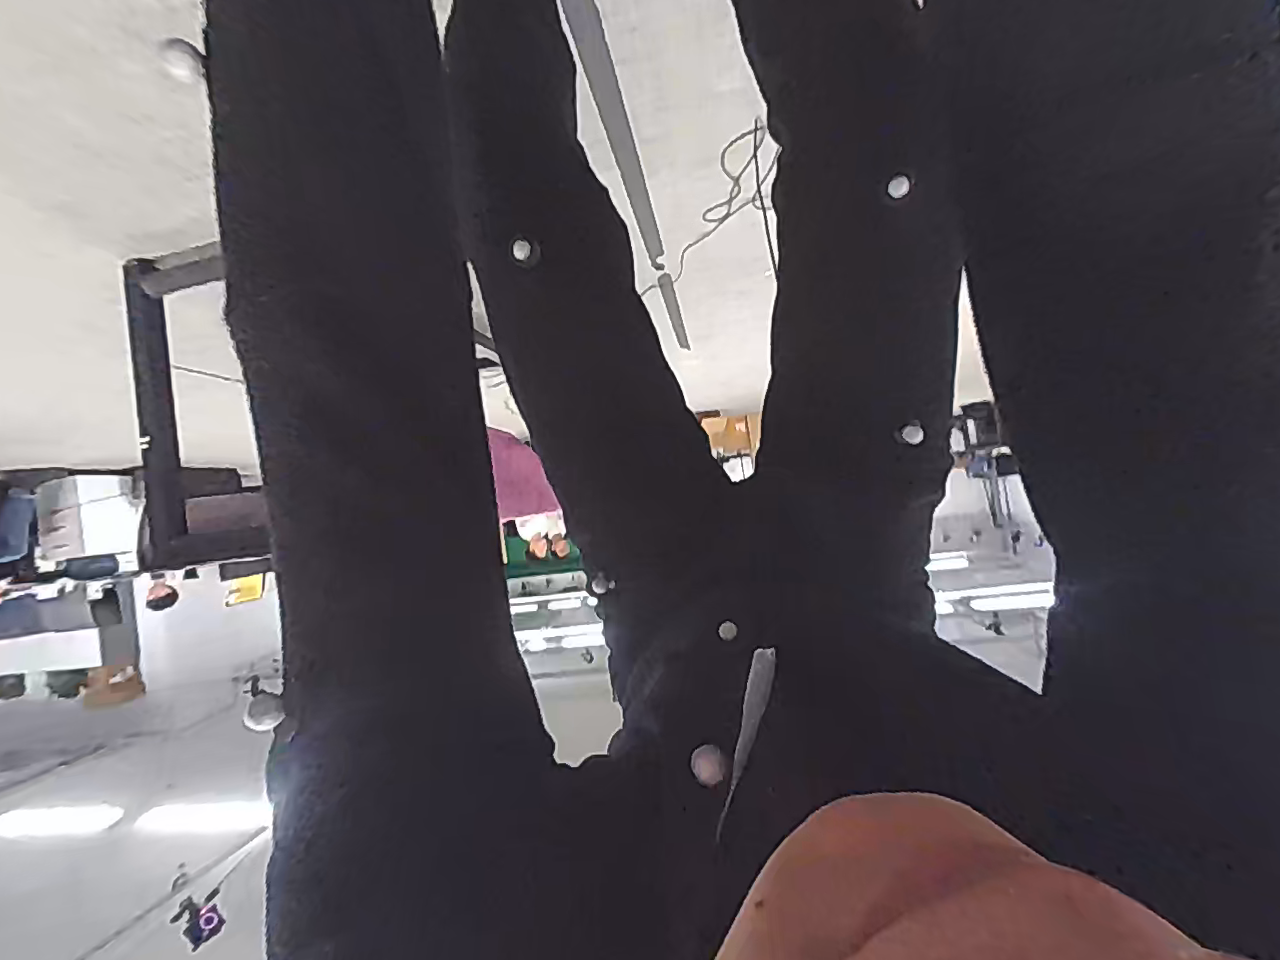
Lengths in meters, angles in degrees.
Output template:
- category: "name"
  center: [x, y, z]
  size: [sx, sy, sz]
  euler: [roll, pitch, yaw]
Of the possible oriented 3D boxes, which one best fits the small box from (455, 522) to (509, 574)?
- category: "small box"
  center: [-0.606, 0.250, 1.984]
  size: [0.179, 0.176, 0.168]
  euler: [-9, 178, 14]
